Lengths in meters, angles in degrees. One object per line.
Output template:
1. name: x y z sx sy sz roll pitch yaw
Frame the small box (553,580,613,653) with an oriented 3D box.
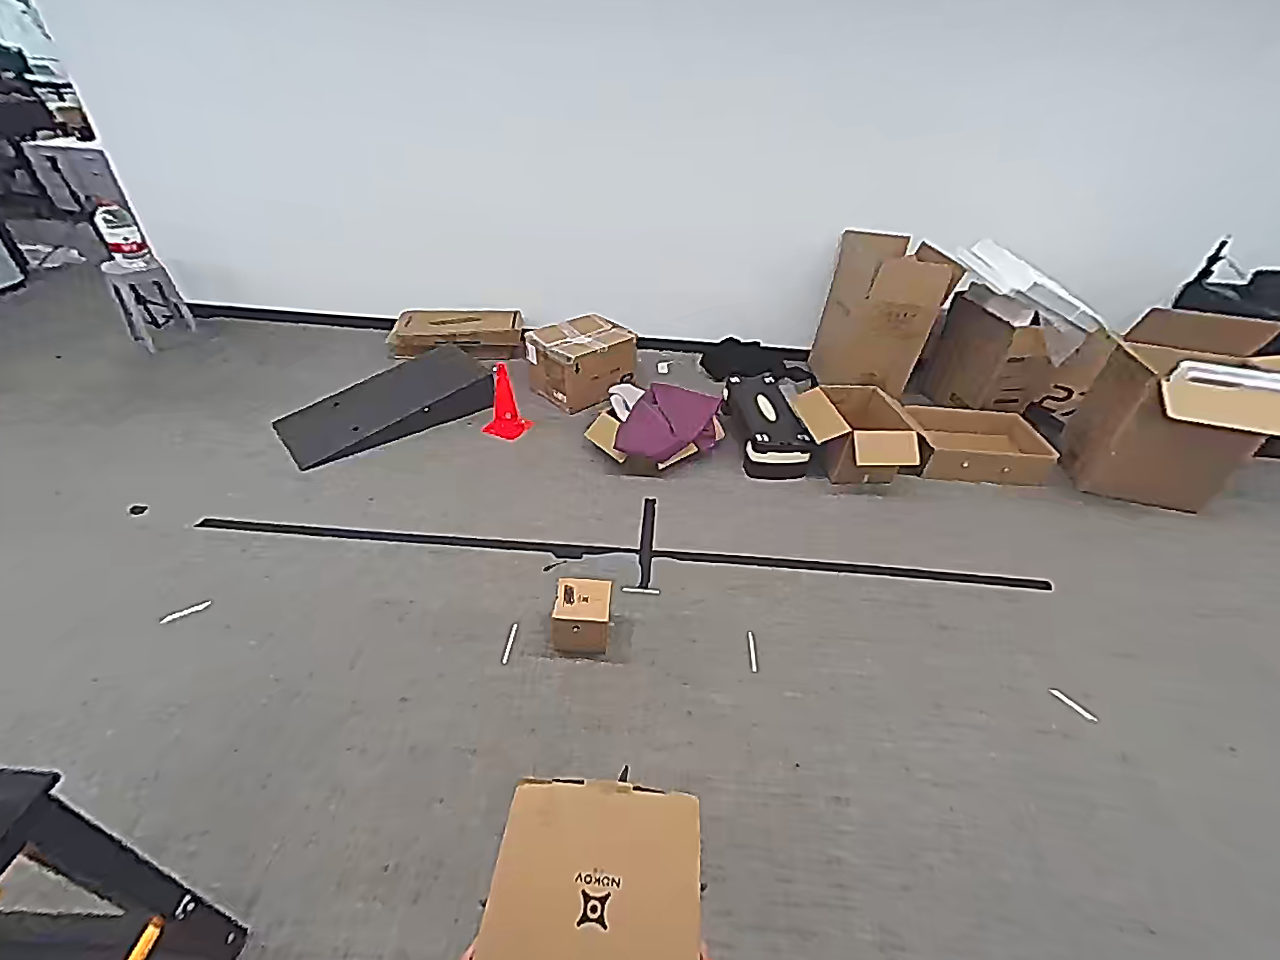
1. small box: -0.183 0.451 1.776 0.179 0.176 0.168 3 38 -1

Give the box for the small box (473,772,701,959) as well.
1. small box: -0.038 0.386 0.466 0.168 0.176 0.179 4 38 2
